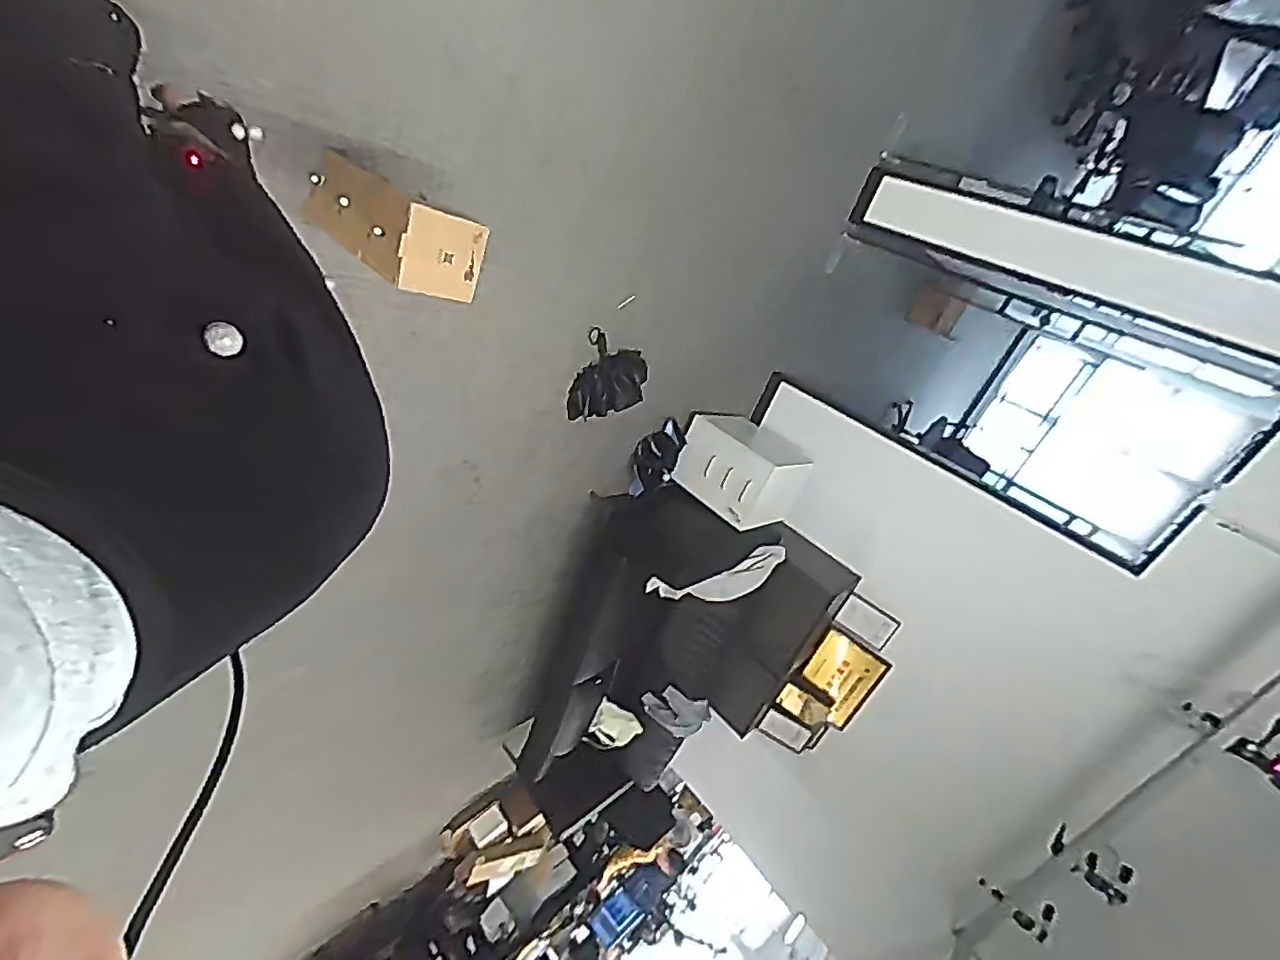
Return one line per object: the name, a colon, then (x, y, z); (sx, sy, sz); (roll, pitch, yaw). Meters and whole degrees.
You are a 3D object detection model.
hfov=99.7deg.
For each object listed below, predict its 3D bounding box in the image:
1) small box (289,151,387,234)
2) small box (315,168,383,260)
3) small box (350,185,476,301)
small box: (-0.712, -0.667, 1.314); (0.179, 0.176, 0.168); (5, 117, -55)
small box: (-0.599, -0.579, 1.232); (0.179, 0.176, 0.168); (7, 116, -56)
small box: (-0.485, -0.502, 1.145); (0.179, 0.176, 0.168); (-6, 126, -52)
